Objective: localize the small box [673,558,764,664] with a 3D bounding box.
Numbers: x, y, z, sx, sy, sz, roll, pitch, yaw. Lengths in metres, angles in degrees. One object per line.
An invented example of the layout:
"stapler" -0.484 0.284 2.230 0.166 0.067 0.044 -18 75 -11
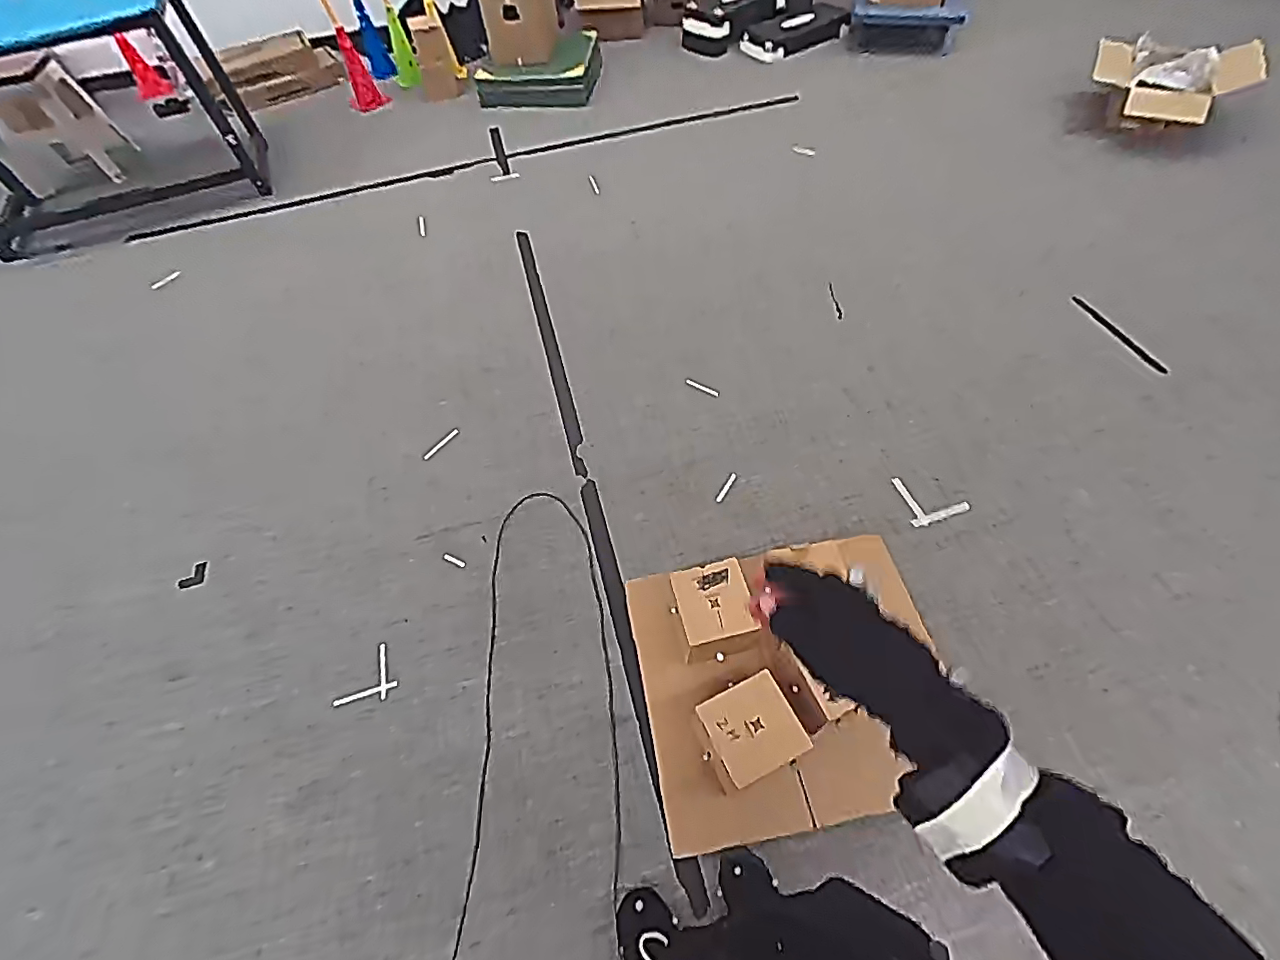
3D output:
"small box" 0.176 0.313 1.278 0.168 0.176 0.179 -13 57 -5

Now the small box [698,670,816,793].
"small box" 0.234 0.527 1.130 0.179 0.176 0.168 -23 57 -11
